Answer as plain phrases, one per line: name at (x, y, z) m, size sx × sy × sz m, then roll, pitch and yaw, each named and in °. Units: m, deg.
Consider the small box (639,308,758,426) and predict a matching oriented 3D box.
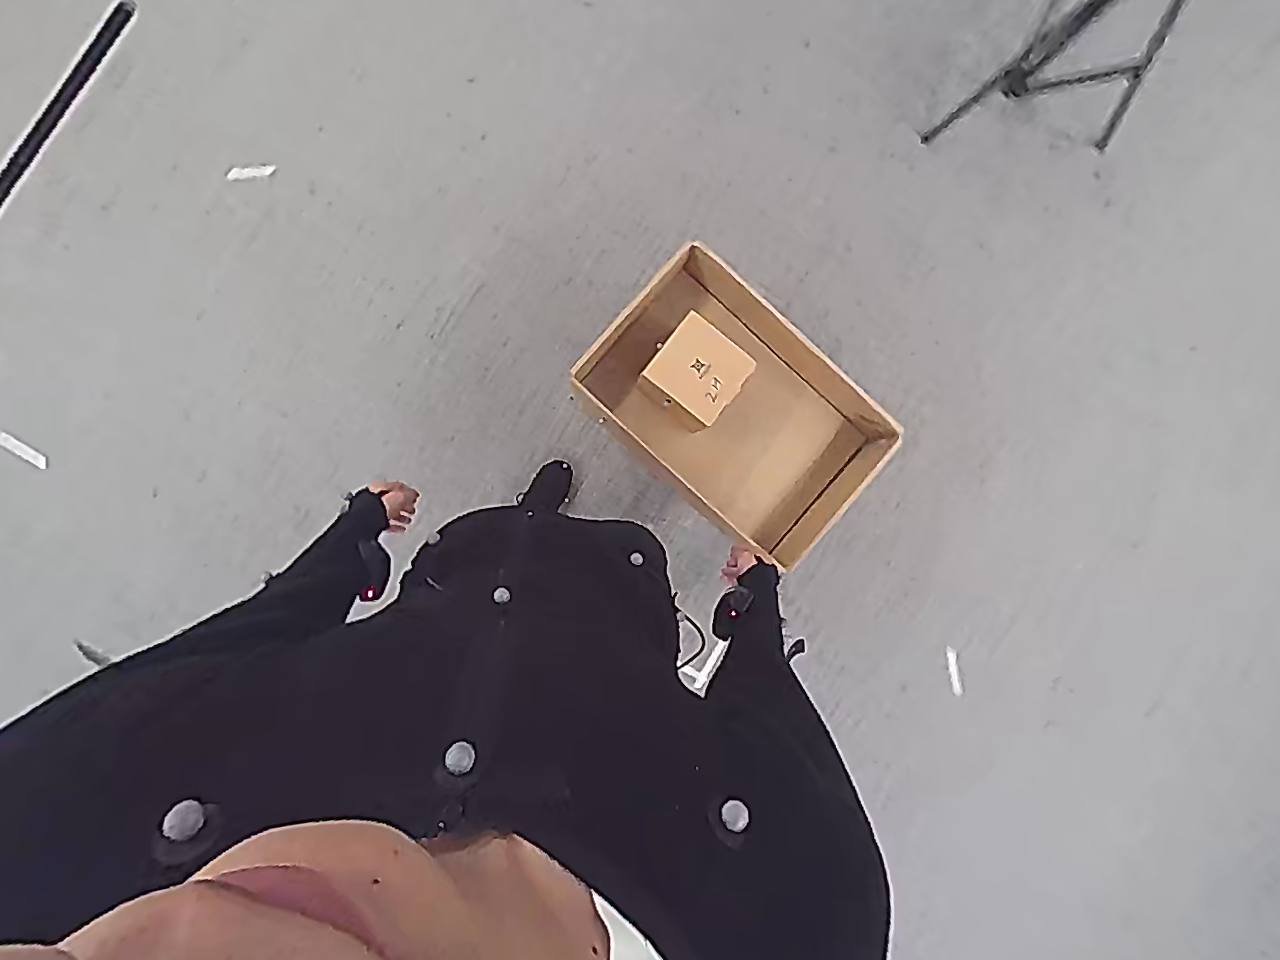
small box at (0.113, -0.229, 1.154) m, size 0.179 × 0.176 × 0.168 m, roll 39°, pitch 88°, yaw -5°
